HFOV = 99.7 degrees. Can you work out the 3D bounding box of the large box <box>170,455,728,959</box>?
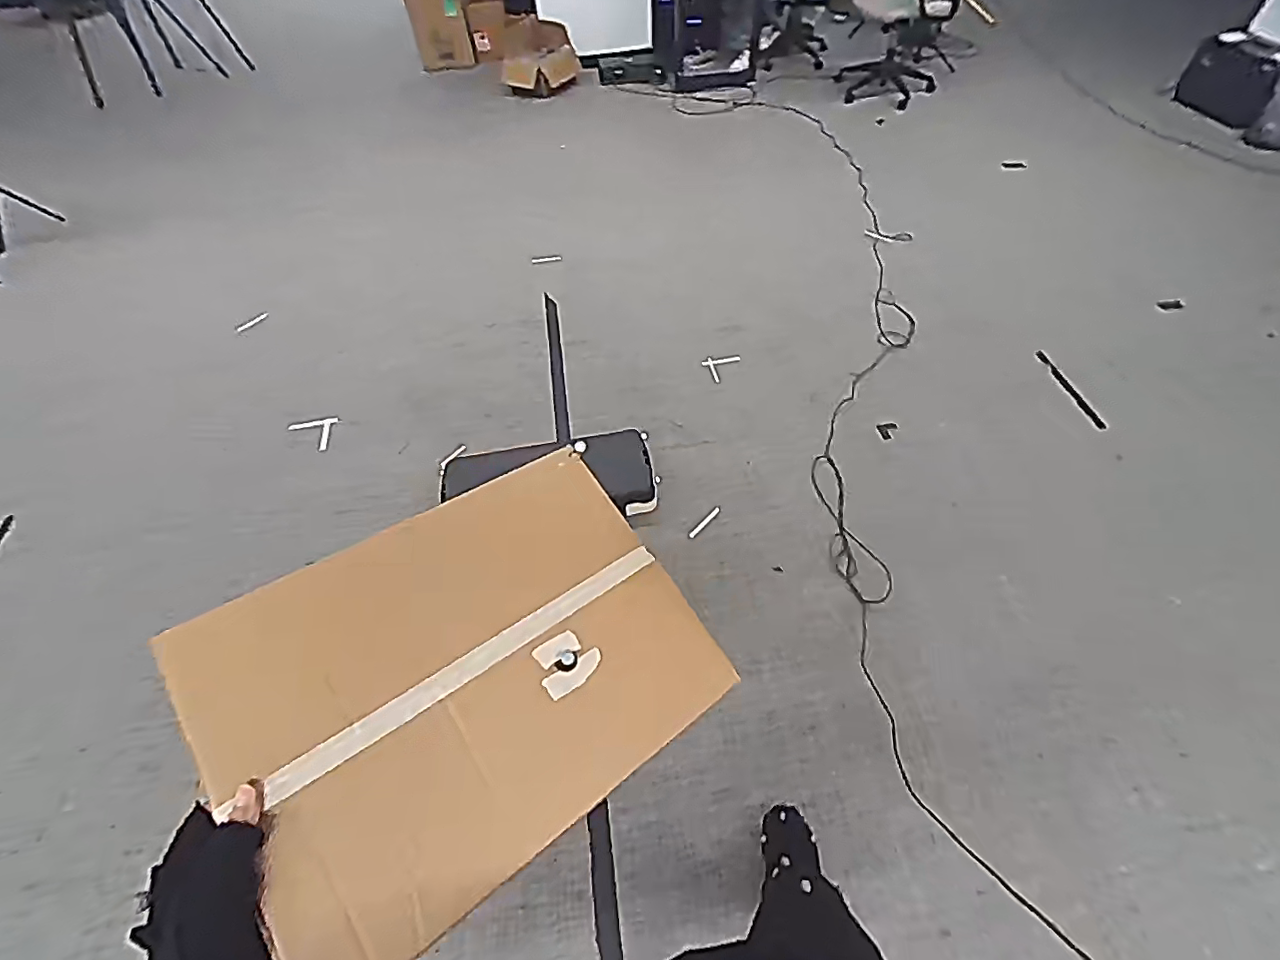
[{"bbox_3d":[-0.184,0.243,0.617,0.408,0.320,0.320,-28,72,-28],"label":"large box"}]
